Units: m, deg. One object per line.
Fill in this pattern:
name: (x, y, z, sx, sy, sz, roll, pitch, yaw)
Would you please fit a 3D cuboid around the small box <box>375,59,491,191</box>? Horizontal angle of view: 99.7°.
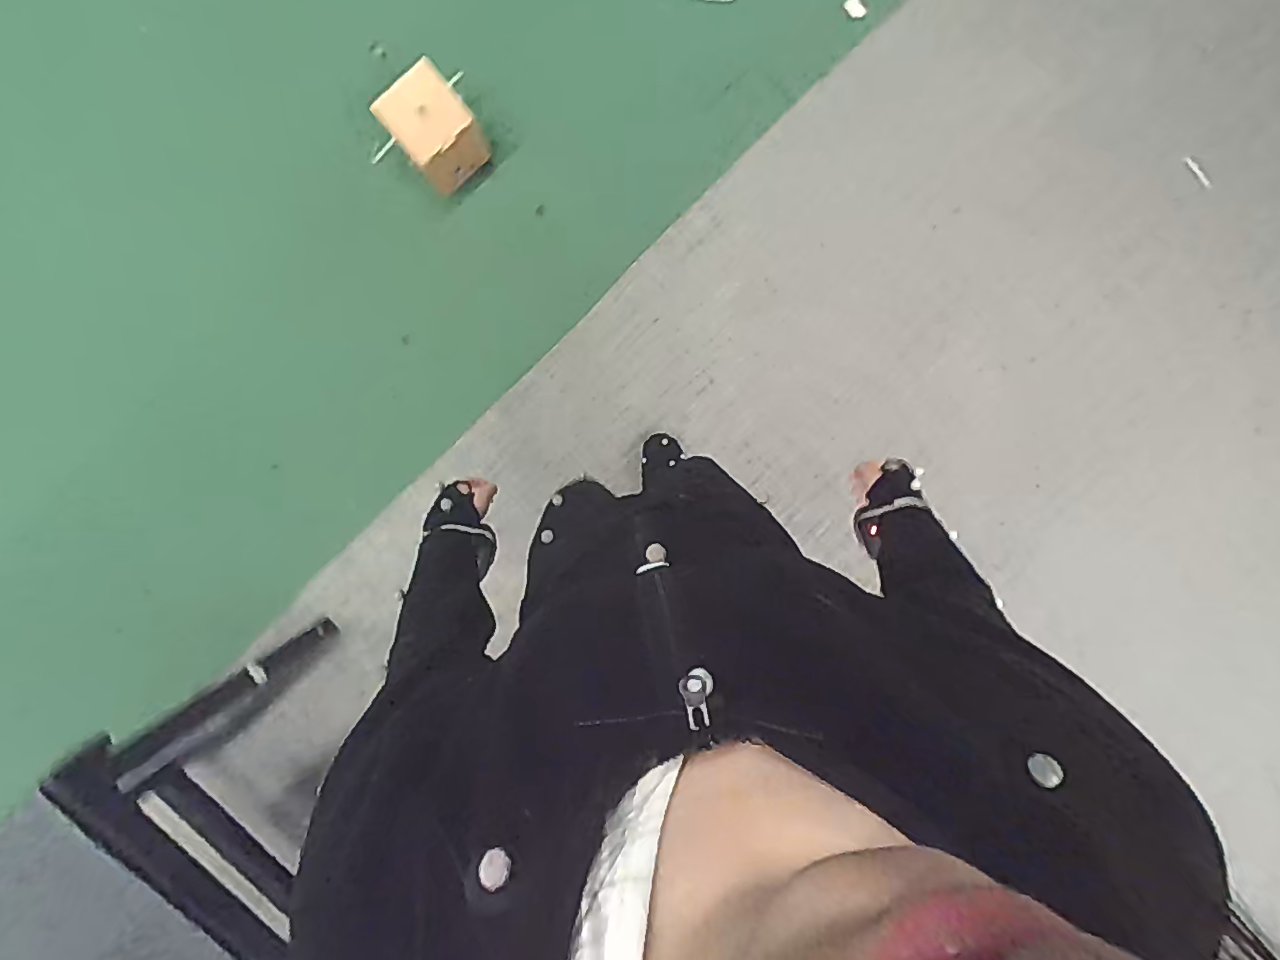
small box: (-0.496, -0.854, 1.321, 0.168, 0.176, 0.179, -41, 96, 2)
